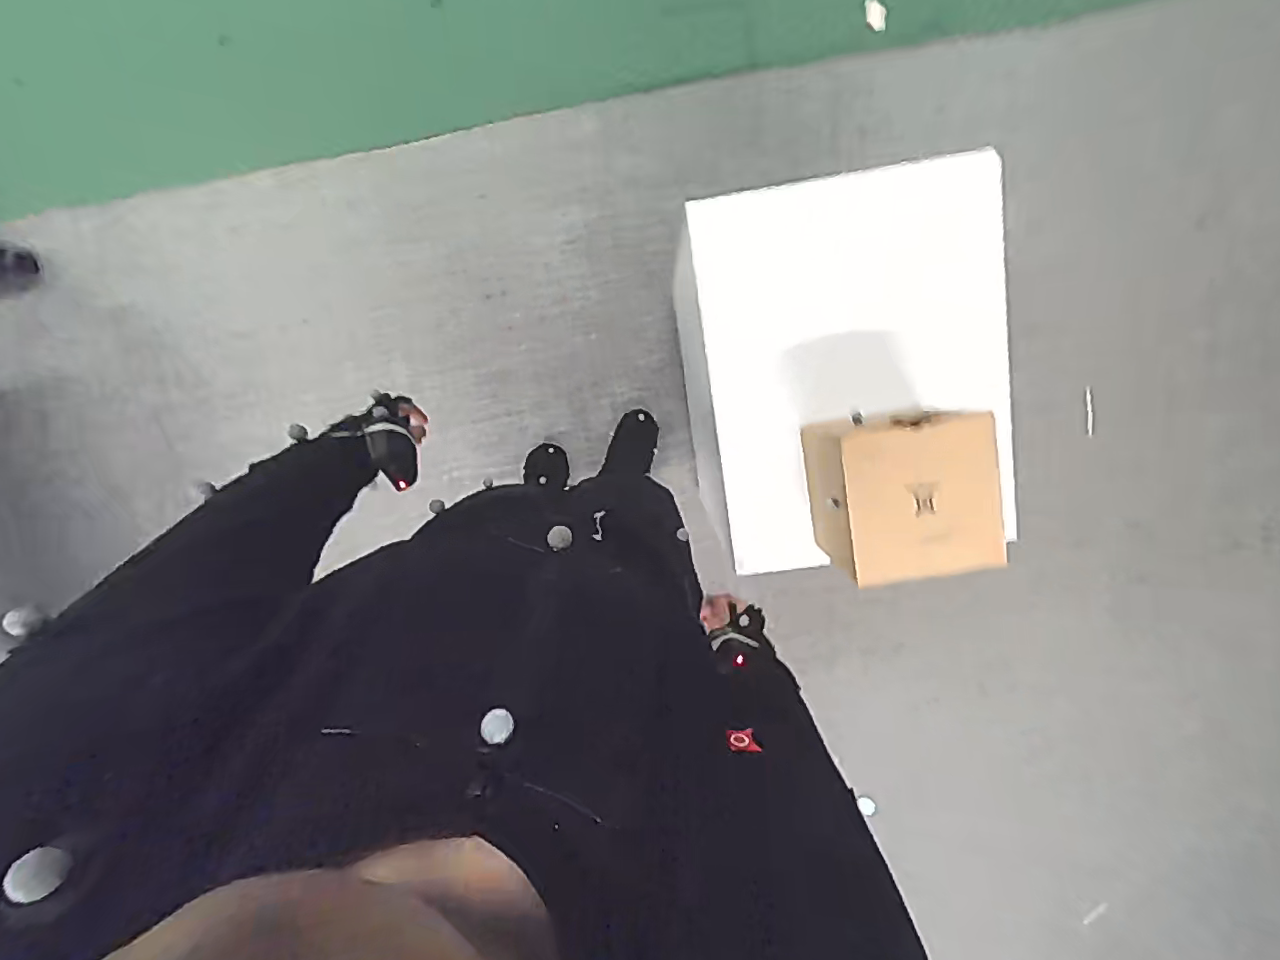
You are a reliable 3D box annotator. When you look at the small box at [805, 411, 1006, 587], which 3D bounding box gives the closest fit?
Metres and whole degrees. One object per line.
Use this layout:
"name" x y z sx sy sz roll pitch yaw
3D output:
"small box" 0.312 0.012 0.667 0.168 0.176 0.179 -9 99 4
